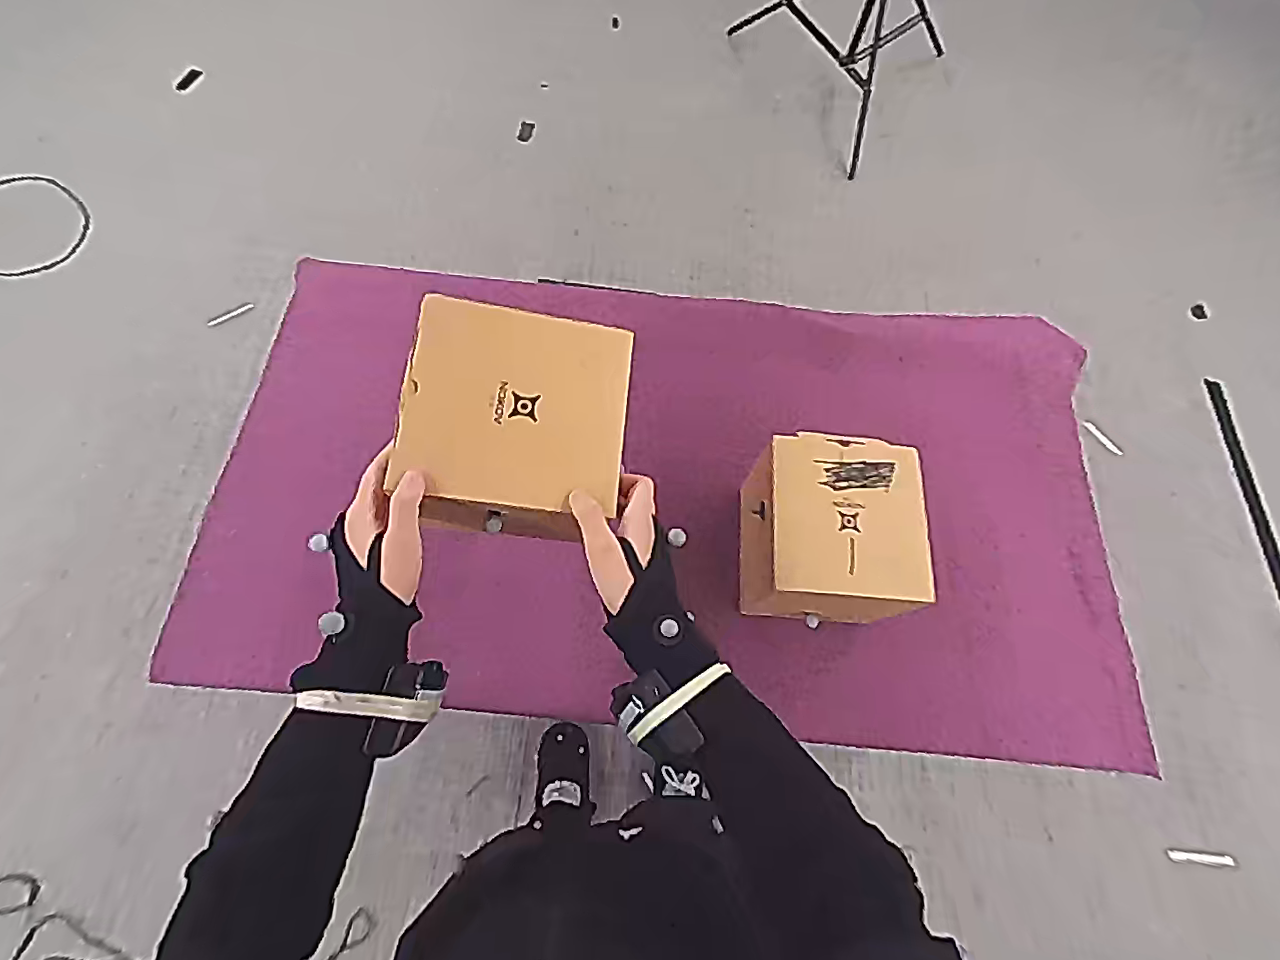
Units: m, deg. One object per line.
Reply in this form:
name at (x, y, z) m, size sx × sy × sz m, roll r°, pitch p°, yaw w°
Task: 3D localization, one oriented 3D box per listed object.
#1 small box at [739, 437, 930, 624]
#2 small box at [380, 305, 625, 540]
small box at (0.217, 0.069, 0.654) m, size 0.168 × 0.176 × 0.179 m, roll 5°, pitch 68°, yaw 0°
small box at (-0.120, -0.037, 0.516) m, size 0.179 × 0.176 × 0.168 m, roll 7°, pitch 76°, yaw -10°
